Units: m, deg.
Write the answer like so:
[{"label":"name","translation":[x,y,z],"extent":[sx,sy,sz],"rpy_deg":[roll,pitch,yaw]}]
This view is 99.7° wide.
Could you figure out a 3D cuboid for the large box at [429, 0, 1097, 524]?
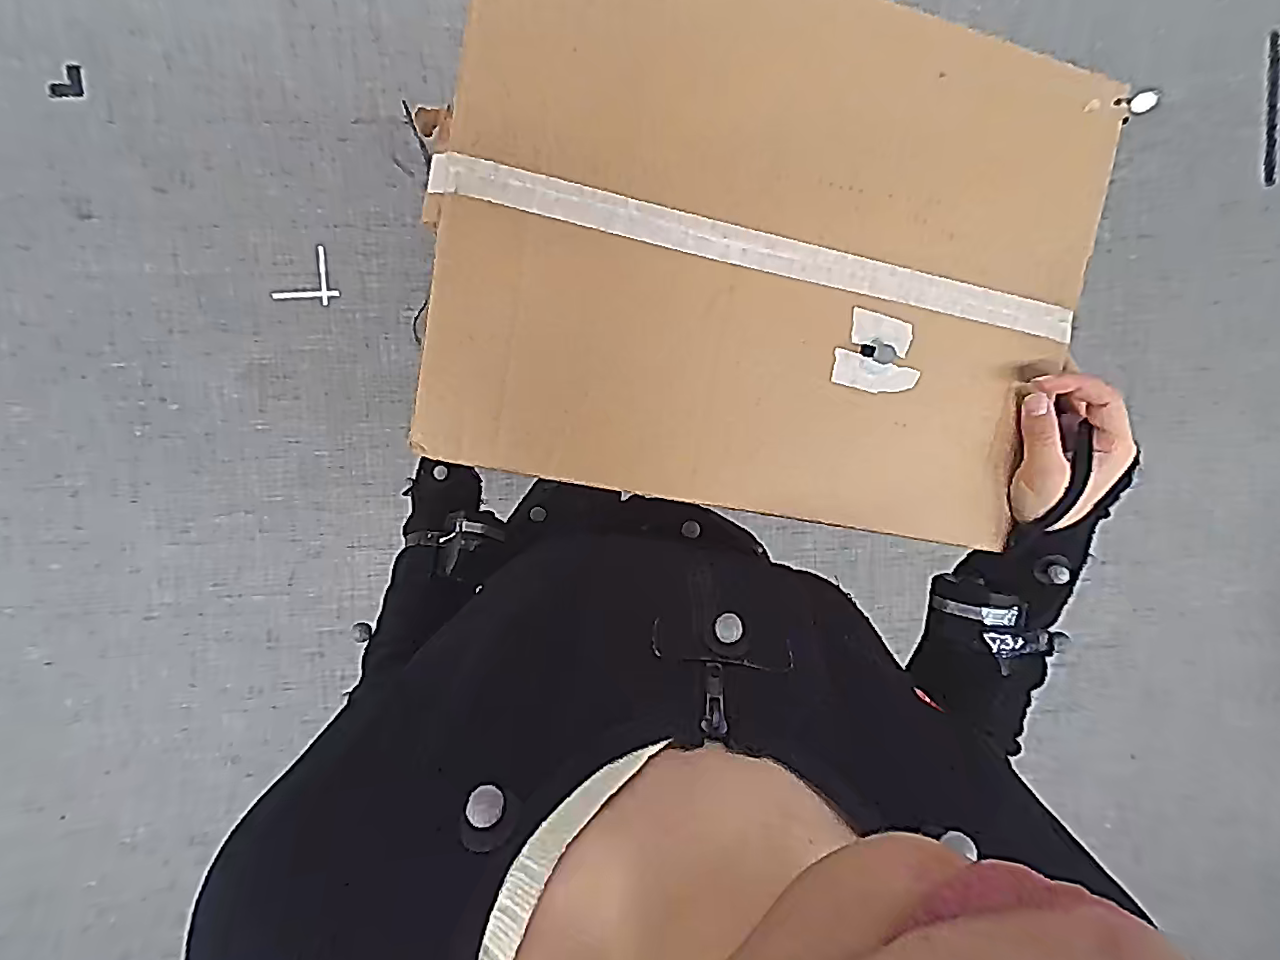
[{"label":"large box","translation":[0.064,-0.162,0.483],"extent":[0.408,0.320,0.320],"rpy_deg":[9,96,-11]}]
